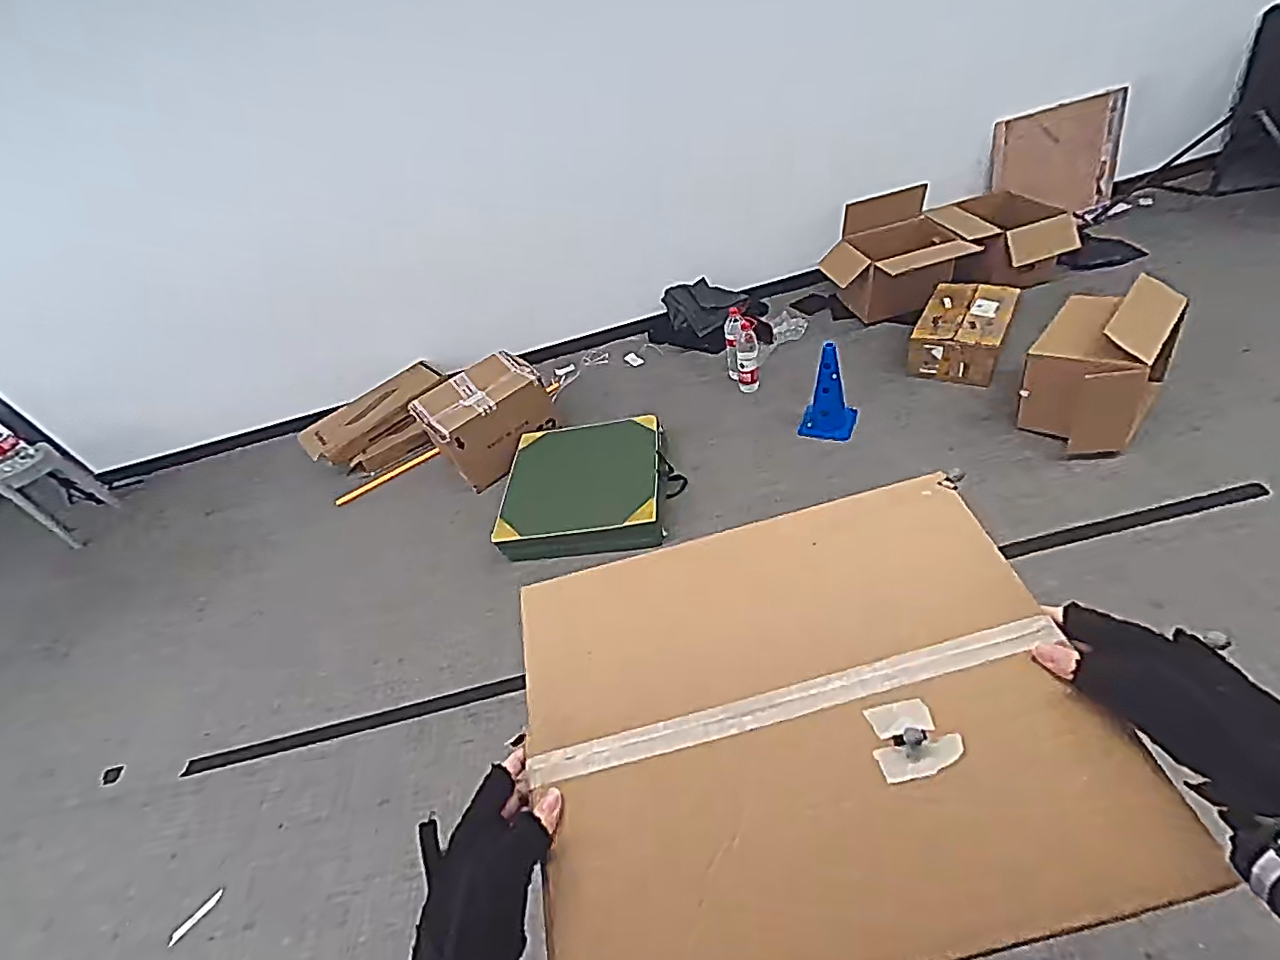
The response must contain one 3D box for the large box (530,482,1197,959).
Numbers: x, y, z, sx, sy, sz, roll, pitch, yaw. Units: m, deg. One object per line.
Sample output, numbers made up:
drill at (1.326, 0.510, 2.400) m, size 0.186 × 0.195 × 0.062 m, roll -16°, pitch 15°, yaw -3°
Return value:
large box at (0.143, 0.260, 0.534) m, size 0.408 × 0.320 × 0.320 m, roll -16°, pitch 52°, yaw 0°
